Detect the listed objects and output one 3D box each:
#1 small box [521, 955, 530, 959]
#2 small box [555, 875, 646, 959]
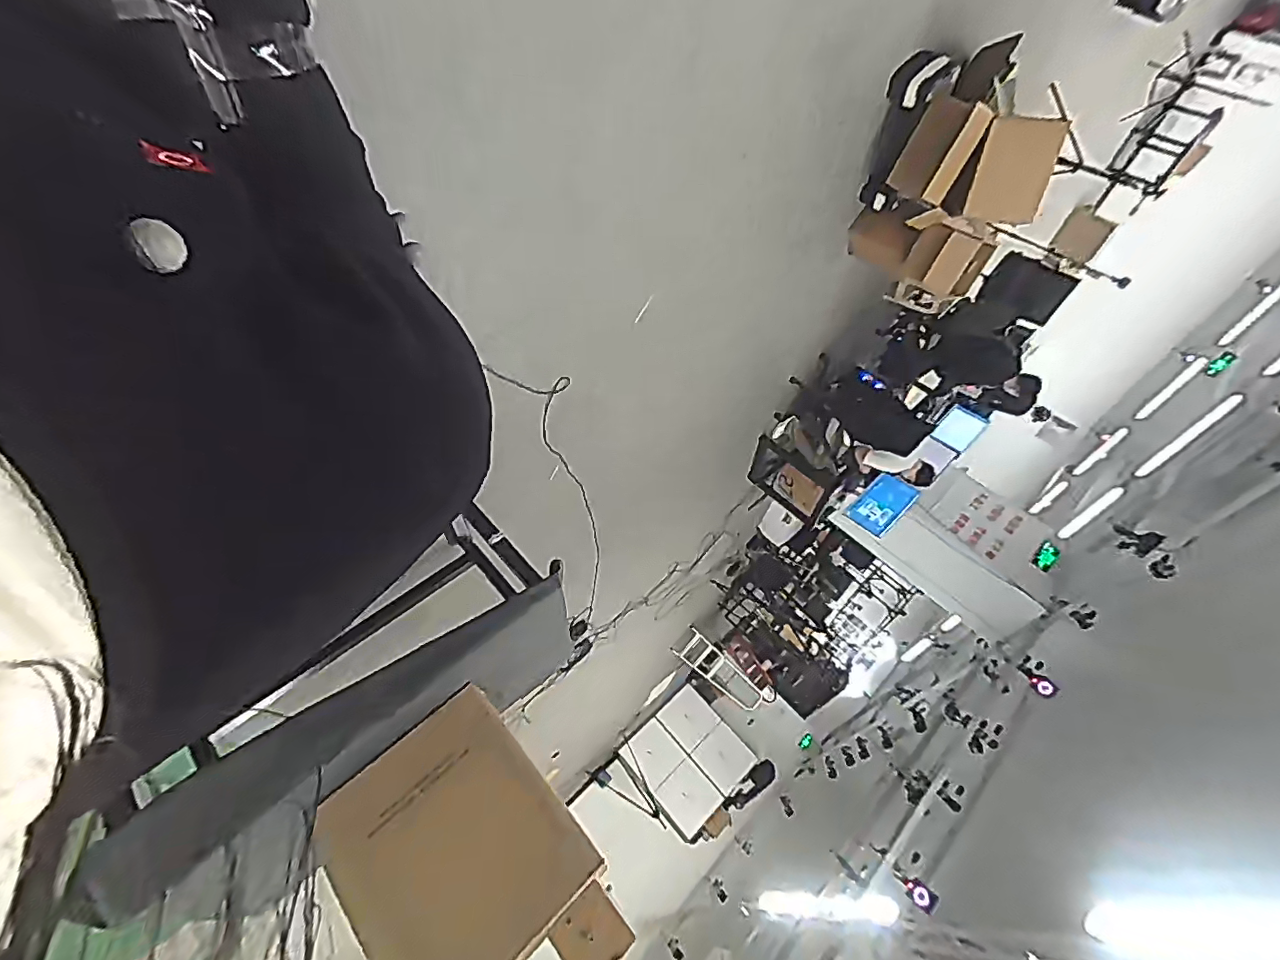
[{"bbox_3d":[-0.304,1.308,1.301,0.179,0.176,0.168,-40,152,-23],"label":"small box"},{"bbox_3d":[-0.103,1.165,1.401,0.168,0.176,0.179,-39,151,-24],"label":"small box"}]
